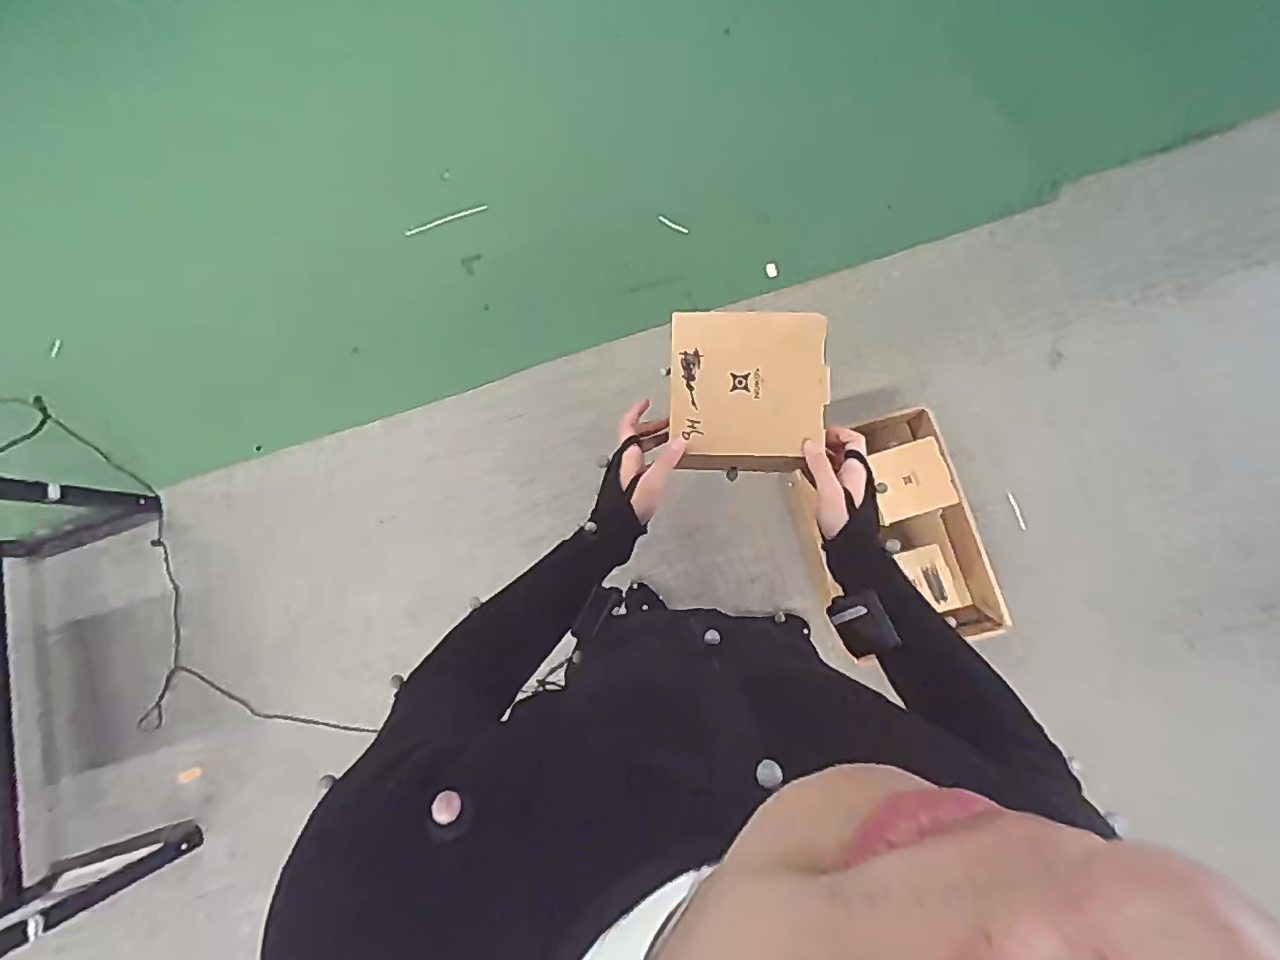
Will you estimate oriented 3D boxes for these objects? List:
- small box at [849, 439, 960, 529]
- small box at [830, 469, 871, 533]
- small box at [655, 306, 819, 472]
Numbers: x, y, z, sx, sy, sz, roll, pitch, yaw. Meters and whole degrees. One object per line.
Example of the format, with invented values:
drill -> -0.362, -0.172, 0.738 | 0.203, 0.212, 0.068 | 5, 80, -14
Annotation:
small box -> 0.630, 0.017, 1.319 | 0.179, 0.176, 0.168 | -17, 81, 4
small box -> 0.636, 0.046, 1.479 | 0.179, 0.176, 0.168 | -16, 81, 4
small box -> 0.111, -0.103, 0.677 | 0.179, 0.176, 0.168 | 2, 84, 1
